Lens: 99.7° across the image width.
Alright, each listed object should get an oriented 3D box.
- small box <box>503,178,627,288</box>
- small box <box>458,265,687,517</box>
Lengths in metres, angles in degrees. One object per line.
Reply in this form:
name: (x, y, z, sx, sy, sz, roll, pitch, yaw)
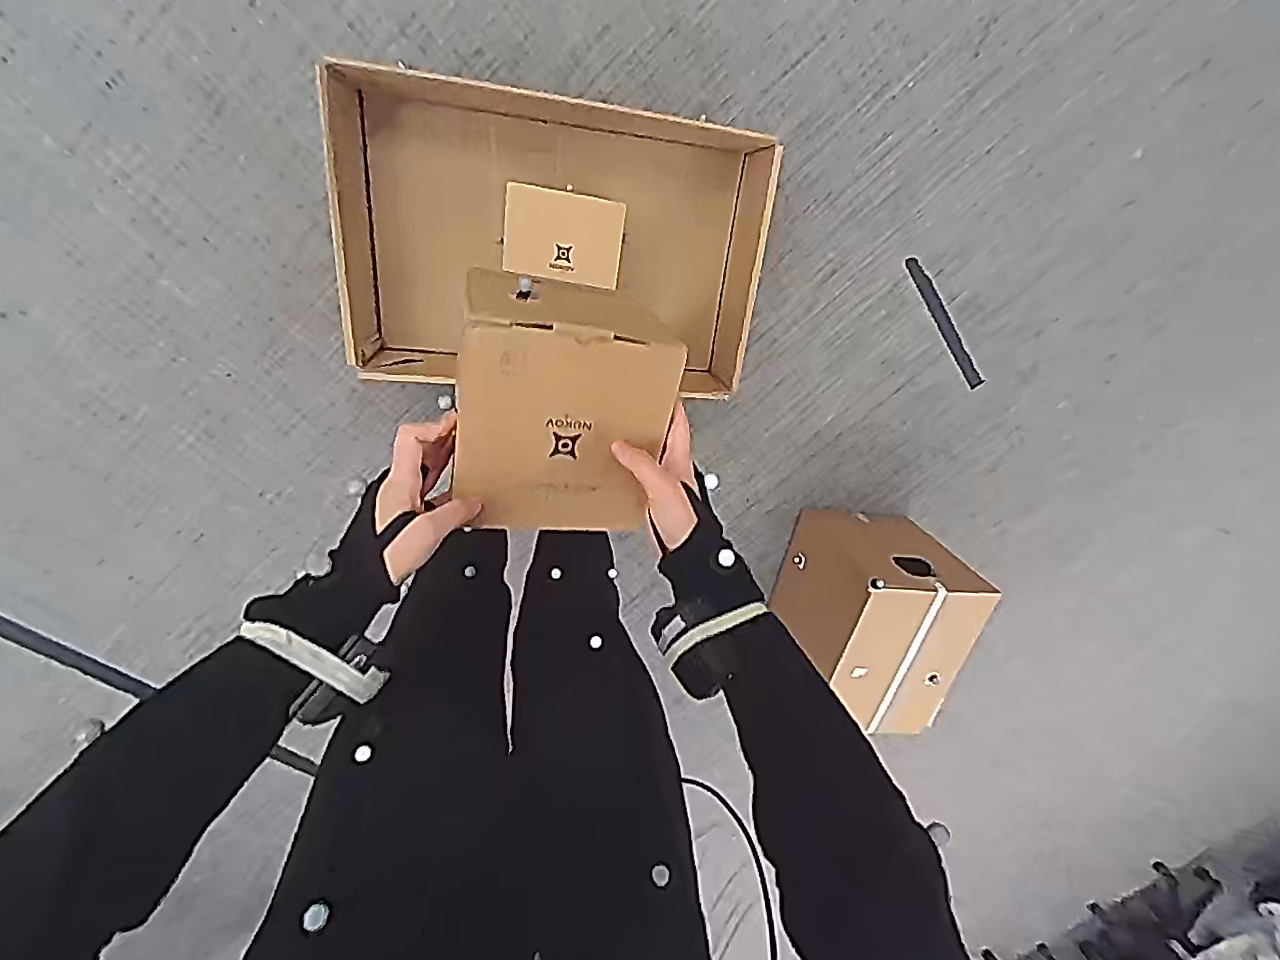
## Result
small box: (-0.125, -0.351, 0.839, 0.168, 0.176, 0.179, 4, 115, -13)
small box: (-0.077, -0.085, 0.498, 0.168, 0.176, 0.179, 2, 121, -19)
